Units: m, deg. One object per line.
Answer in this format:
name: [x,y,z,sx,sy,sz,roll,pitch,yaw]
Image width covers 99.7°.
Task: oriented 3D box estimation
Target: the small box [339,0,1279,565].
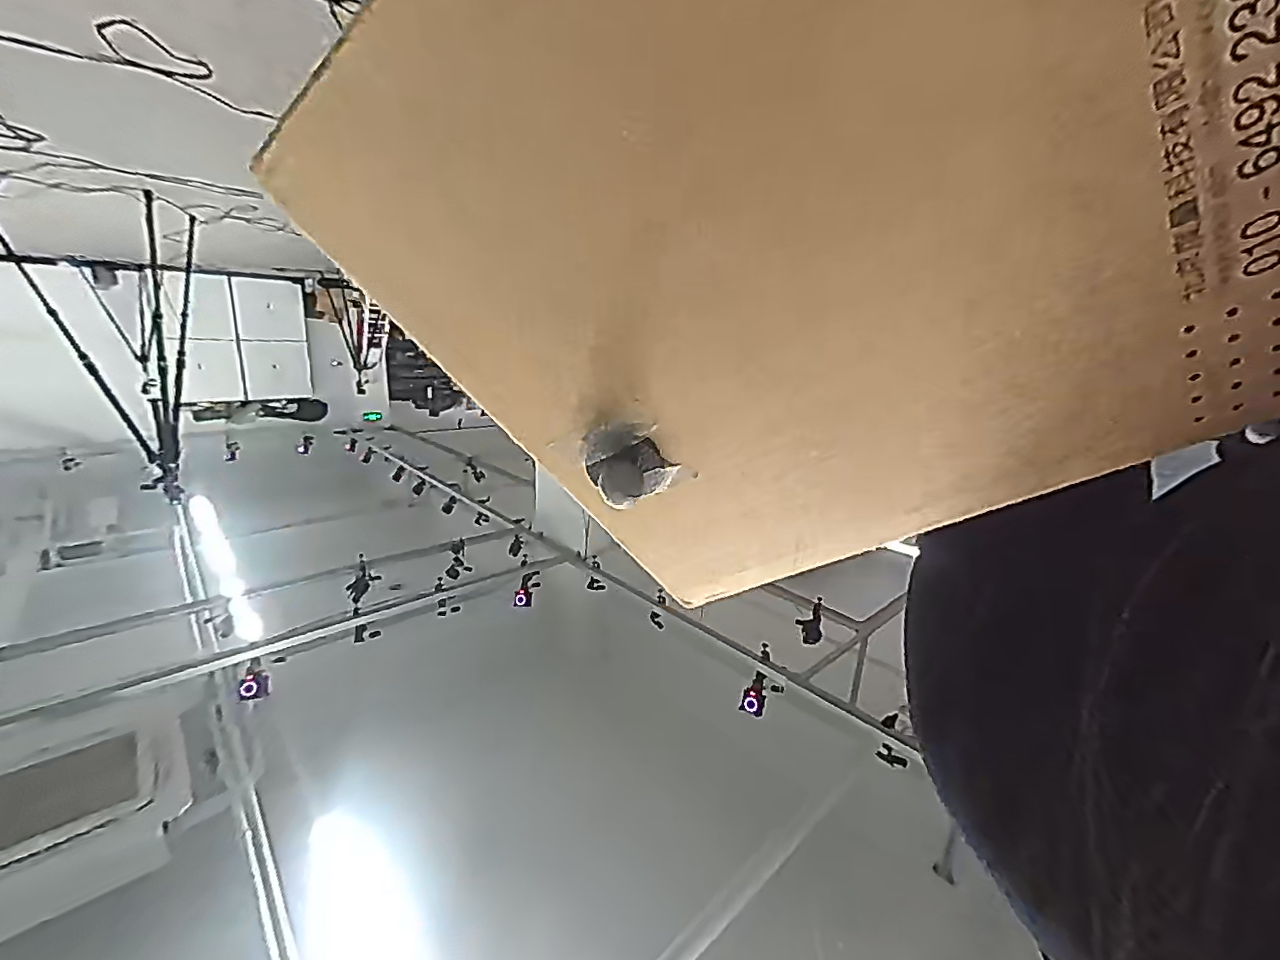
small box: [0.056,-0.105,0.182,0.176,0.168,0.179,-25,-147,27]
